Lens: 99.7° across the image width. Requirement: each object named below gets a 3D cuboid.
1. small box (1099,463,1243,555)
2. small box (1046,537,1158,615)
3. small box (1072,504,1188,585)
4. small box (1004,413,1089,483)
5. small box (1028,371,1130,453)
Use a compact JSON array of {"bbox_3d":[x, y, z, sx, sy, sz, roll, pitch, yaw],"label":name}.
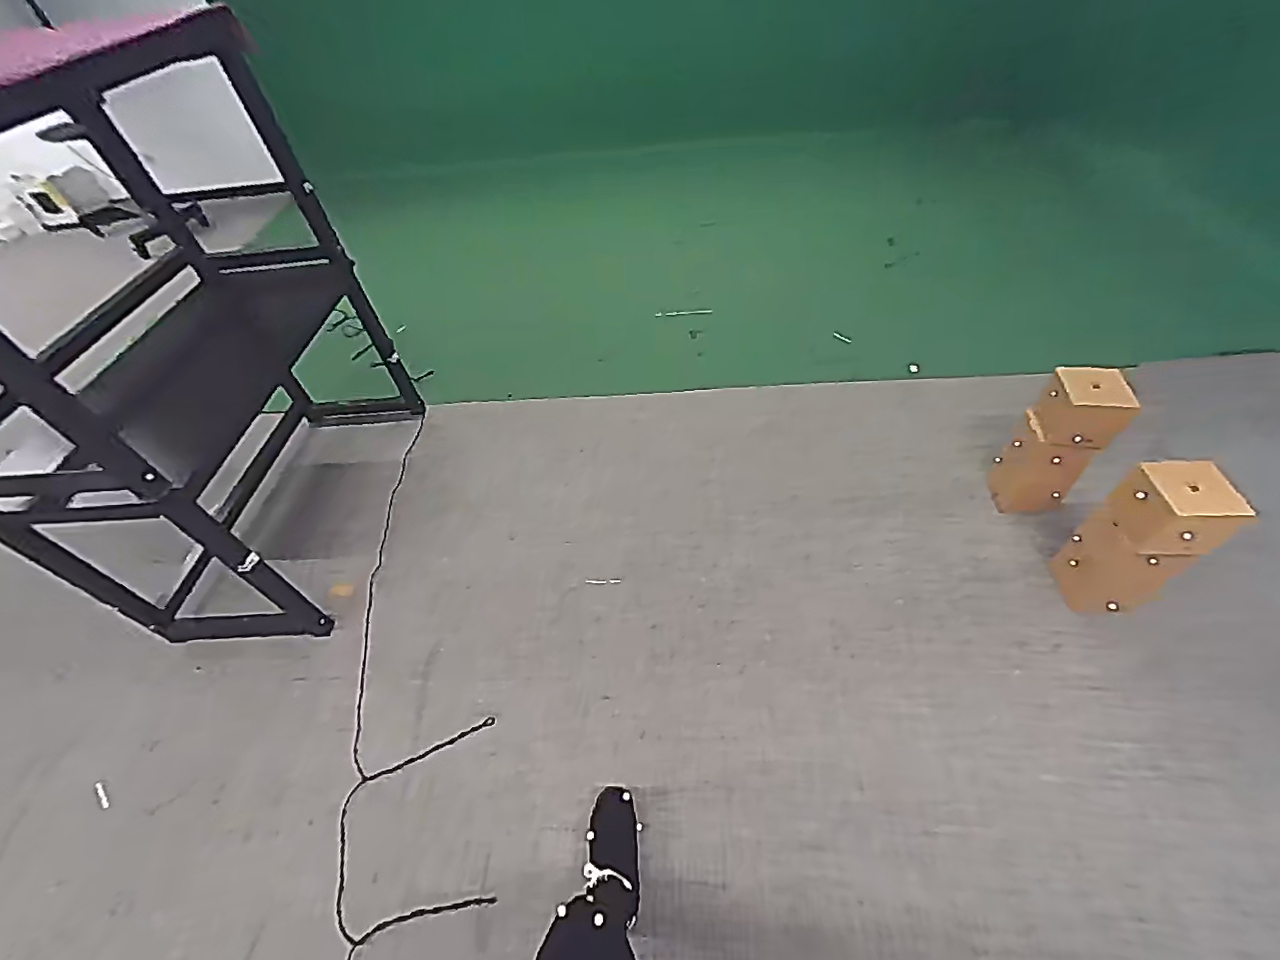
[{"bbox_3d":[1.338,0.078,1.379,0.168,0.176,0.179,-1,48,6],"label":"small box"},{"bbox_3d":[1.373,0.288,1.625,0.168,0.176,0.179,-2,48,7],"label":"small box"},{"bbox_3d":[1.352,0.180,1.504,0.179,0.176,0.168,0,48,6],"label":"small box"},{"bbox_3d":[1.325,-0.104,1.769,0.179,0.176,0.168,1,50,10],"label":"small box"},{"bbox_3d":[1.317,-0.207,1.640,0.168,0.176,0.179,5,49,12],"label":"small box"}]
